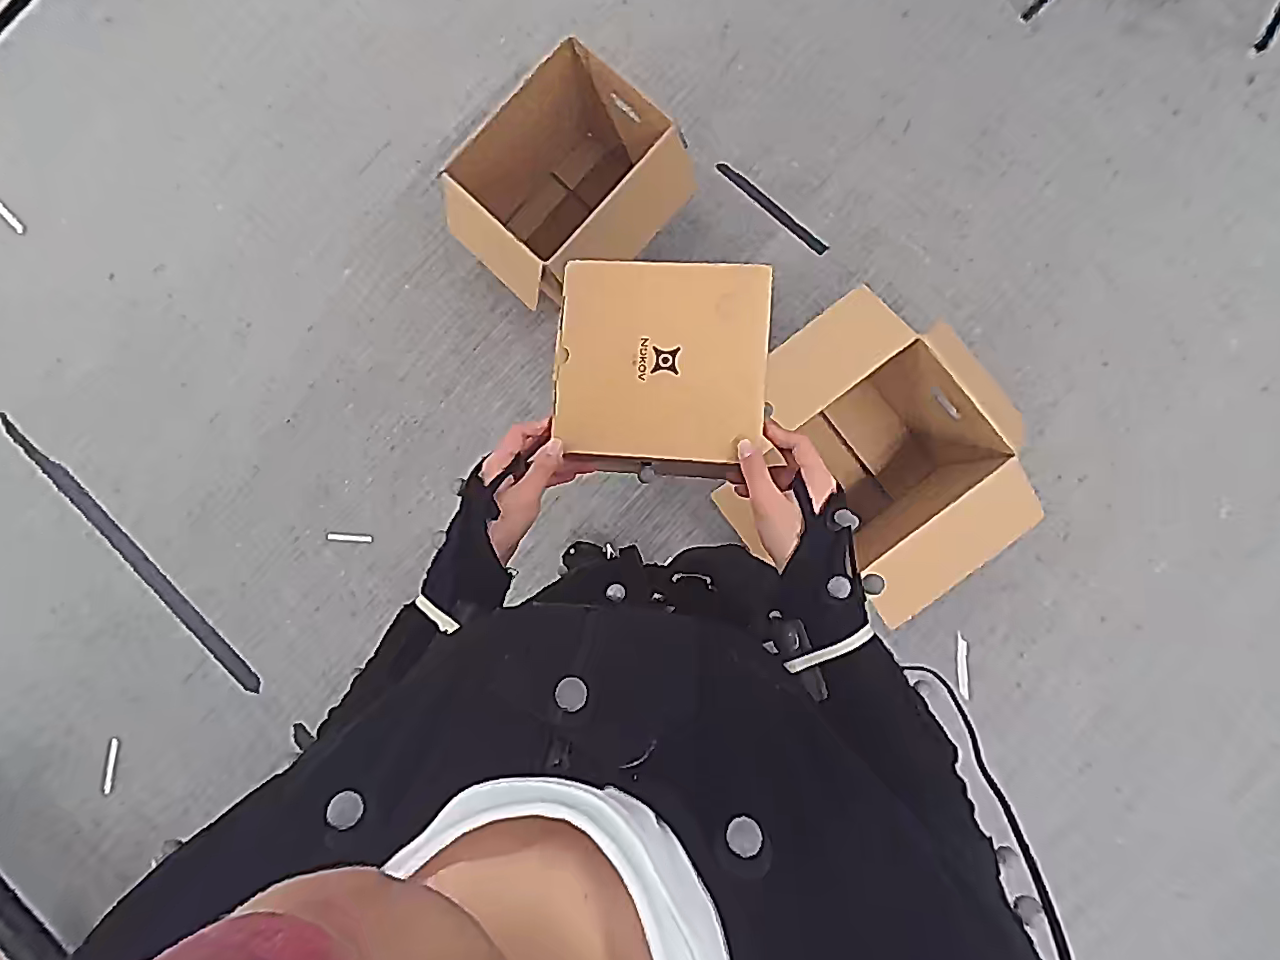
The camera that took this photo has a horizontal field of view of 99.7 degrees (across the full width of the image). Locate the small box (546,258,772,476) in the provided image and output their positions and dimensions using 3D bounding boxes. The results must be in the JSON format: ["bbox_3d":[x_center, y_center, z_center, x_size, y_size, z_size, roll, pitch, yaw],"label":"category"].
[{"bbox_3d":[0.023,-0.094,0.518,0.179,0.176,0.168,4,86,7],"label":"small box"}]
